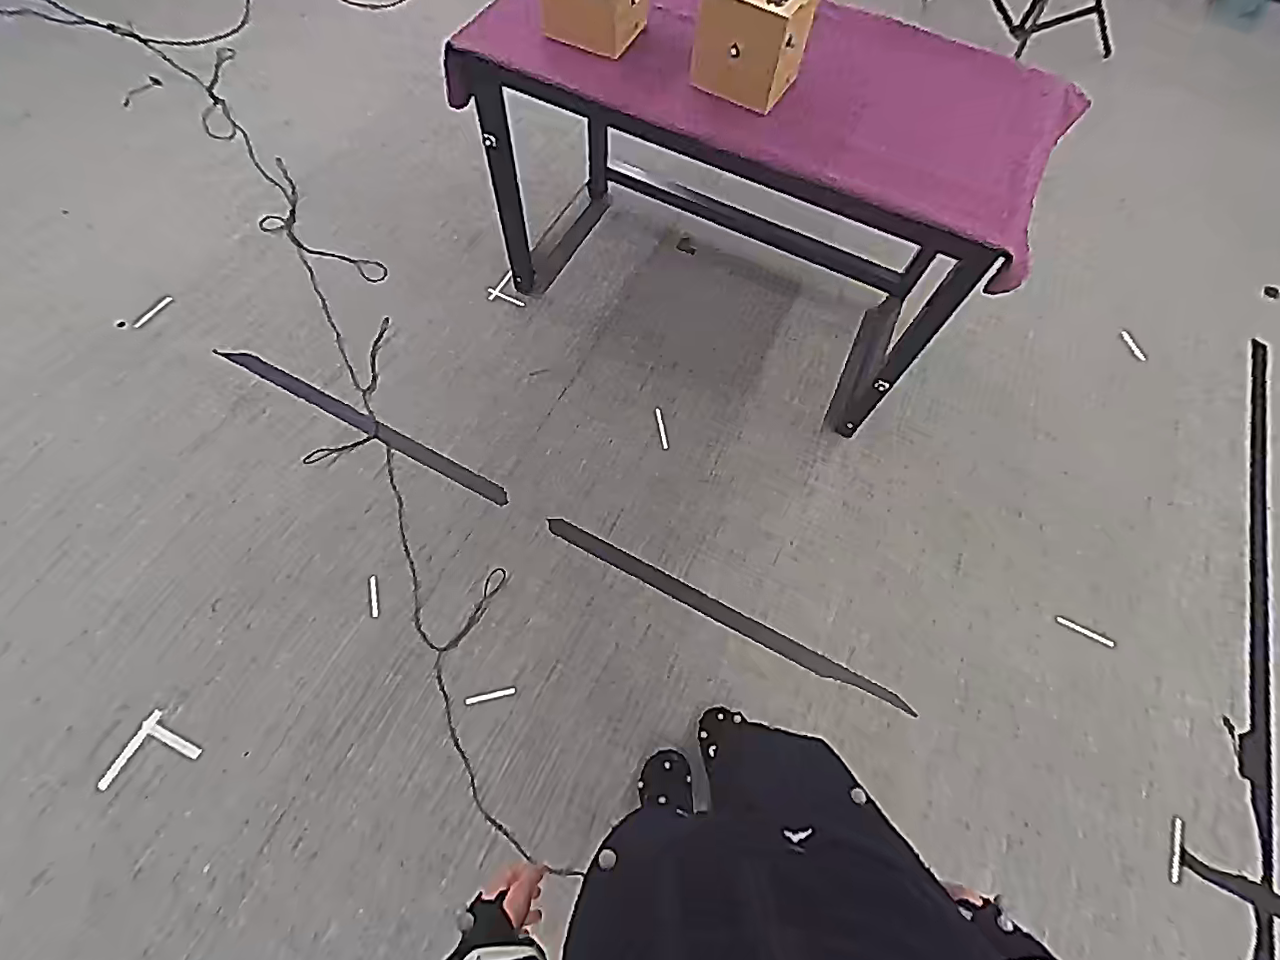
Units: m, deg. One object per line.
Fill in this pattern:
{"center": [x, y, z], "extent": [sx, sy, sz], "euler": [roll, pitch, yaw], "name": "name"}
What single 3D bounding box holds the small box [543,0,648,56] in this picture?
{"center": [-0.087, -1.012, 1.104], "extent": [0.179, 0.176, 0.168], "euler": [24, 65, 7], "name": "small box"}
